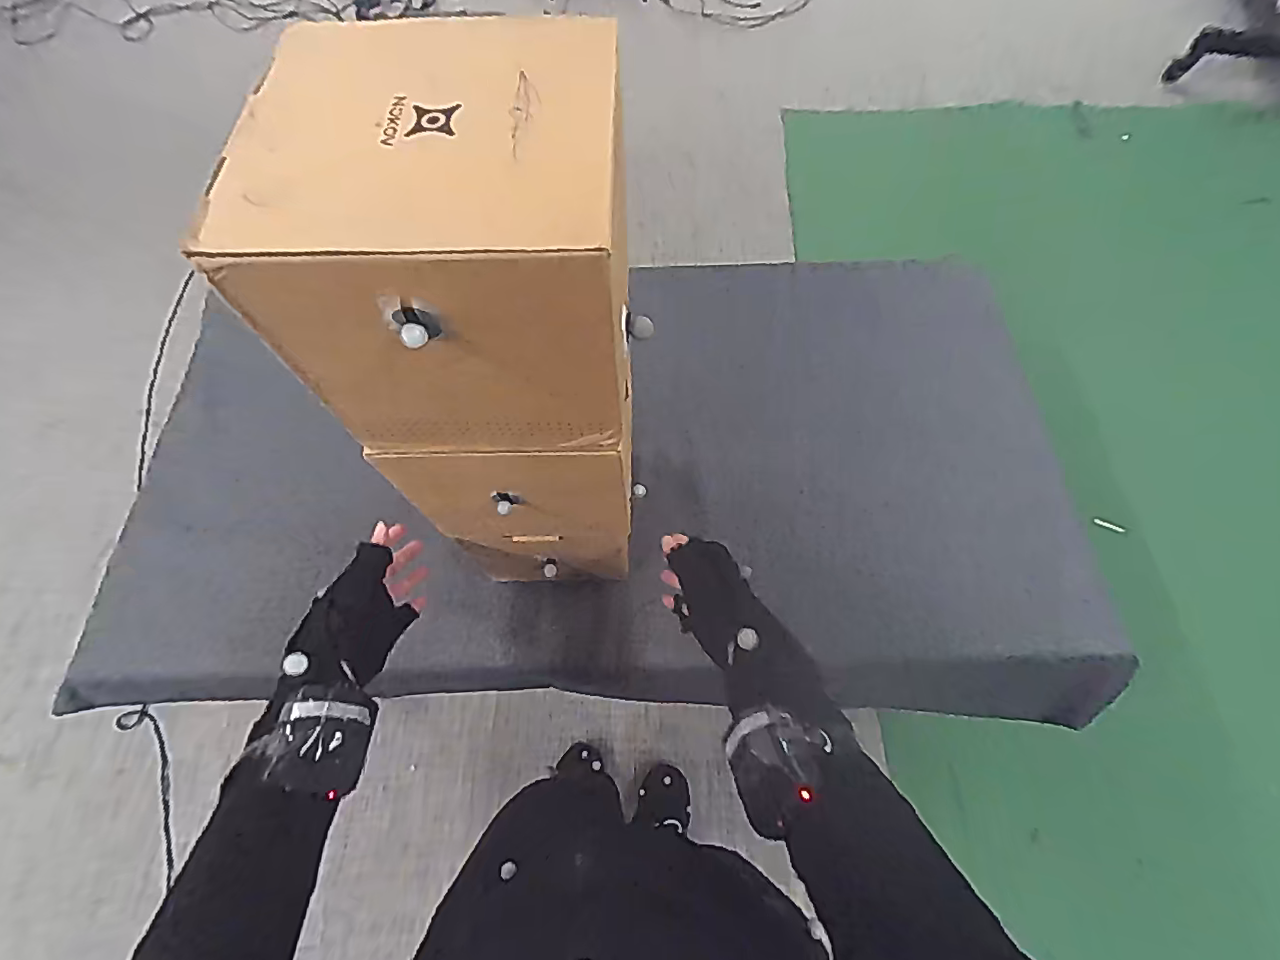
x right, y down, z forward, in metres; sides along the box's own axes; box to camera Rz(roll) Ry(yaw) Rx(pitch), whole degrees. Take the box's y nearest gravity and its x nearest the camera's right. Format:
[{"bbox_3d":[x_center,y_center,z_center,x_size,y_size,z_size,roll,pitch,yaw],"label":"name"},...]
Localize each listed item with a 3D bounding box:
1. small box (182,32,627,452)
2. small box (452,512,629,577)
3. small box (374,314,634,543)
[{"bbox_3d":[-0.099,-0.125,0.324,0.179,0.176,0.168,0,66,0],"label":"small box"},{"bbox_3d":[-0.099,0.012,0.621,0.168,0.176,0.179,-2,66,1],"label":"small box"},{"bbox_3d":[-0.097,-0.050,0.468,0.179,0.176,0.168,-3,65,-1],"label":"small box"}]
